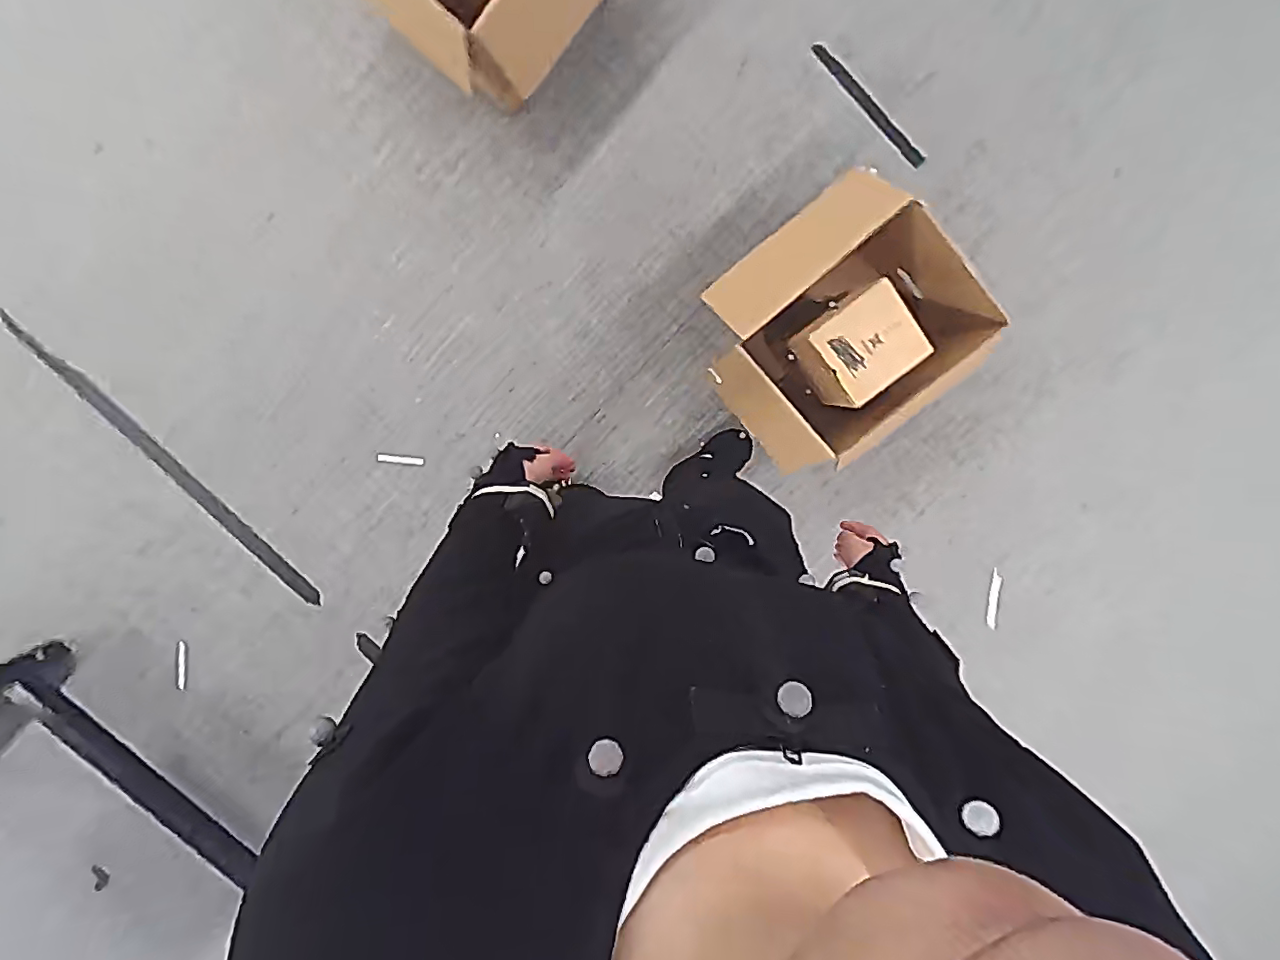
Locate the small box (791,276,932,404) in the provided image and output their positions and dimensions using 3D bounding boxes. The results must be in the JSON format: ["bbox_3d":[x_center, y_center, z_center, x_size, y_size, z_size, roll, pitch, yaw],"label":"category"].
[{"bbox_3d":[0.420,-0.267,1.068,0.179,0.176,0.168,-37,100,4],"label":"small box"}]
